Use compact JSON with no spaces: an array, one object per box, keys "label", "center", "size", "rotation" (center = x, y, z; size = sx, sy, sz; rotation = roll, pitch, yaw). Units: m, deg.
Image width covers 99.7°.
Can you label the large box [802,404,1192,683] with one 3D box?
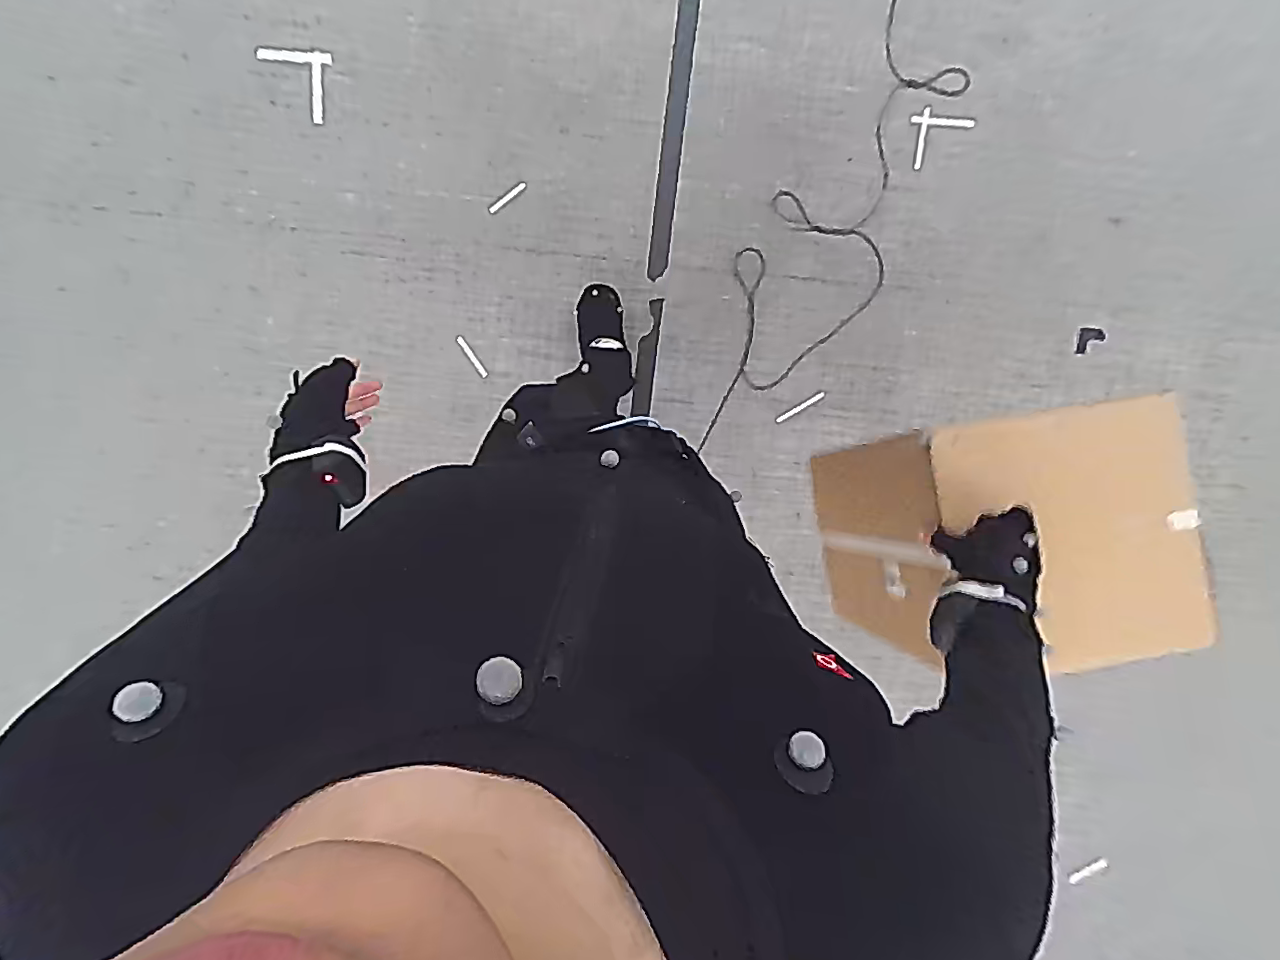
[{"label":"large box","center":[0.498,0.087,0.856],"size":[0.320,0.408,0.320],"rotation":[-10,87,-4]}]
